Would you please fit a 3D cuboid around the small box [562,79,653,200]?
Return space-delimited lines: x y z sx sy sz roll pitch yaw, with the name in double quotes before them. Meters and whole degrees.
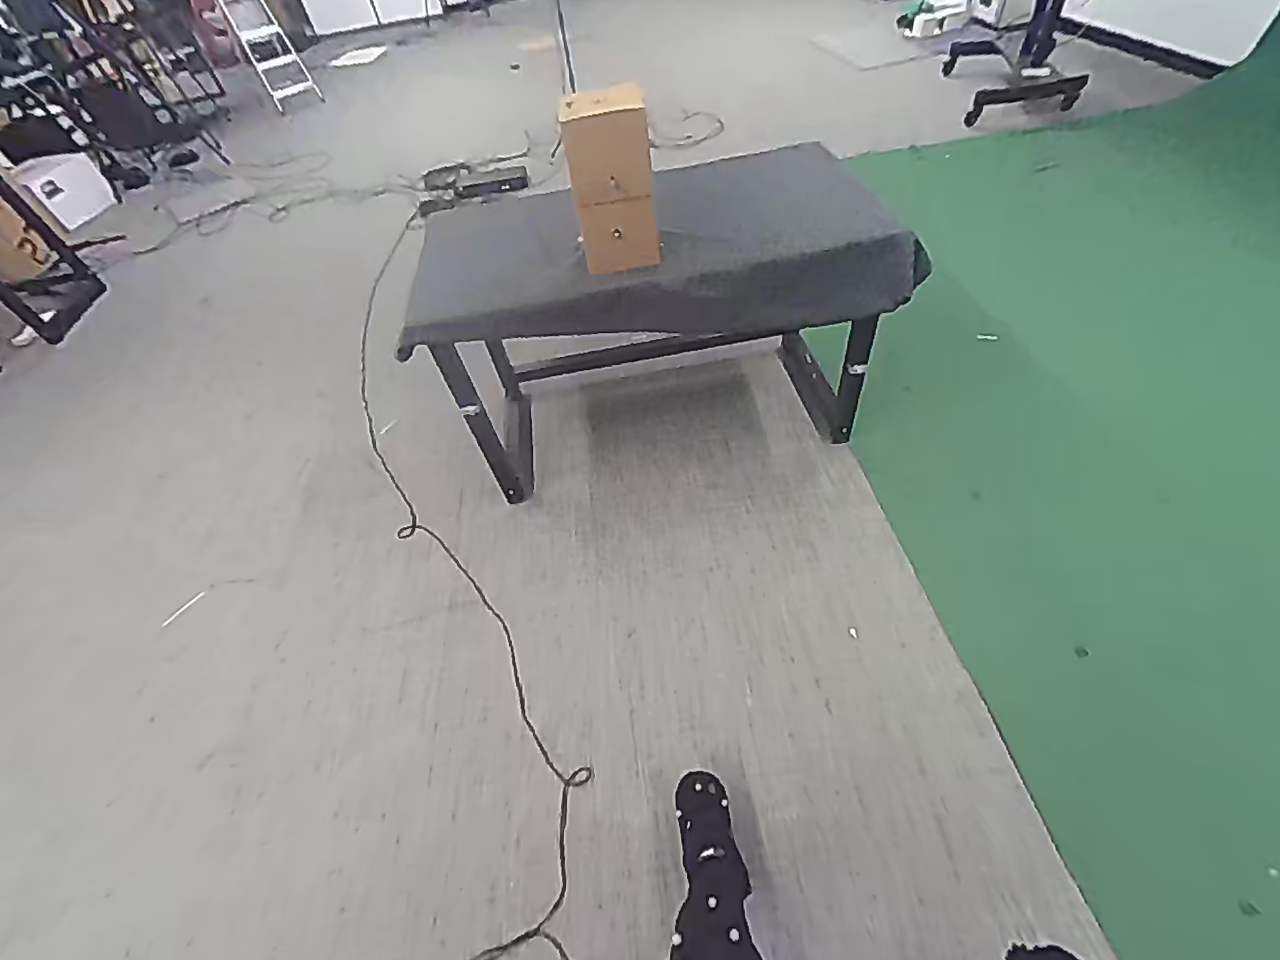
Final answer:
"small box" -0.066 -0.732 1.168 0.179 0.176 0.168 -8 50 2

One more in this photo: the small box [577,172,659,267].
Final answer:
"small box" -0.046 -0.635 1.295 0.179 0.176 0.168 -7 48 3
